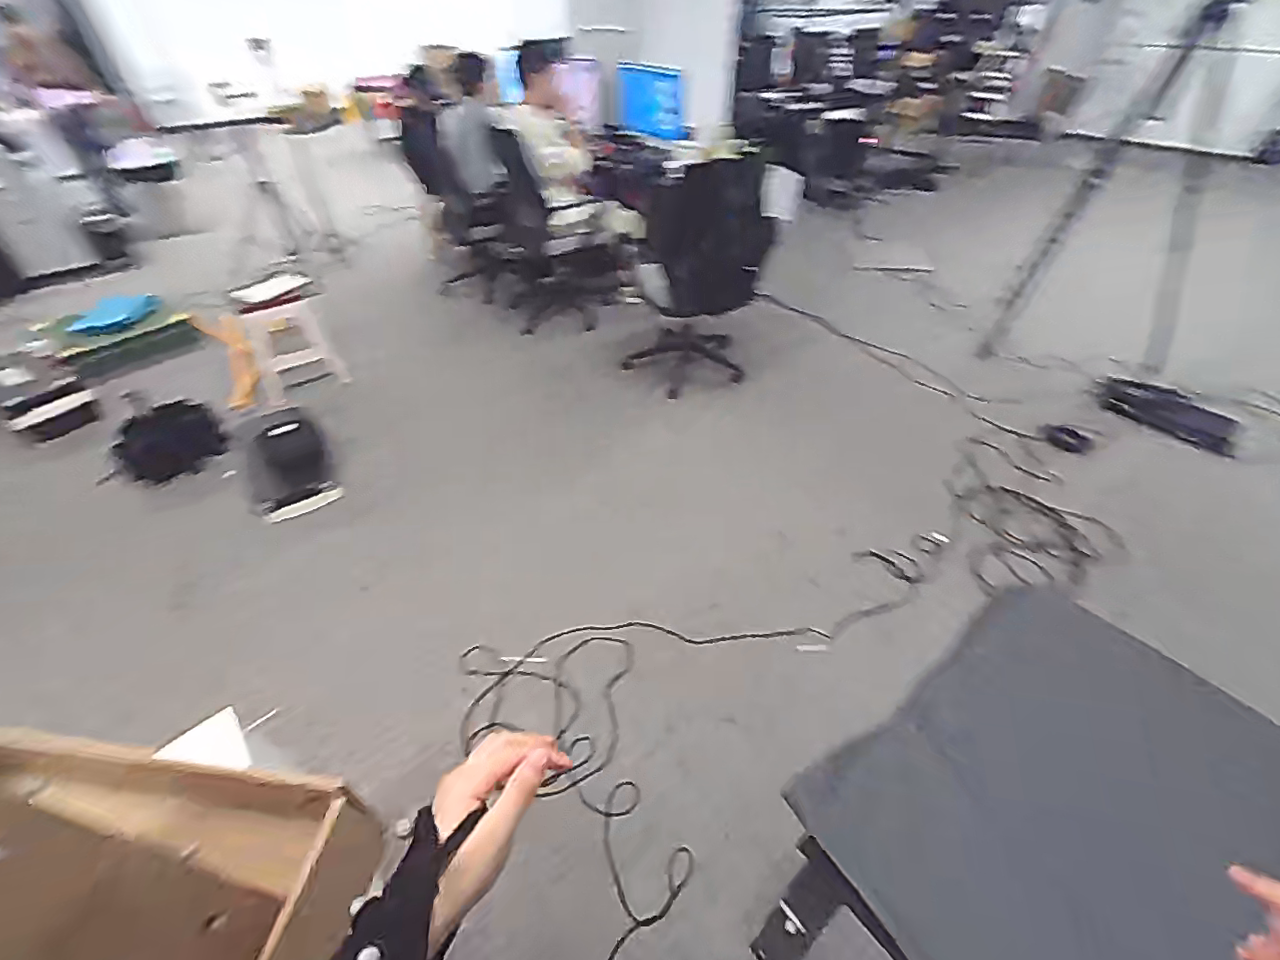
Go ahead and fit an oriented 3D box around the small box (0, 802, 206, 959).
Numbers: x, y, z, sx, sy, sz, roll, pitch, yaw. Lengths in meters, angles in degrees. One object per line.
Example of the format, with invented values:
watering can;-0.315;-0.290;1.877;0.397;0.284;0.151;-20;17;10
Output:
small box;-0.546;0.418;0.482;0.168;0.176;0.179;4;45;9
